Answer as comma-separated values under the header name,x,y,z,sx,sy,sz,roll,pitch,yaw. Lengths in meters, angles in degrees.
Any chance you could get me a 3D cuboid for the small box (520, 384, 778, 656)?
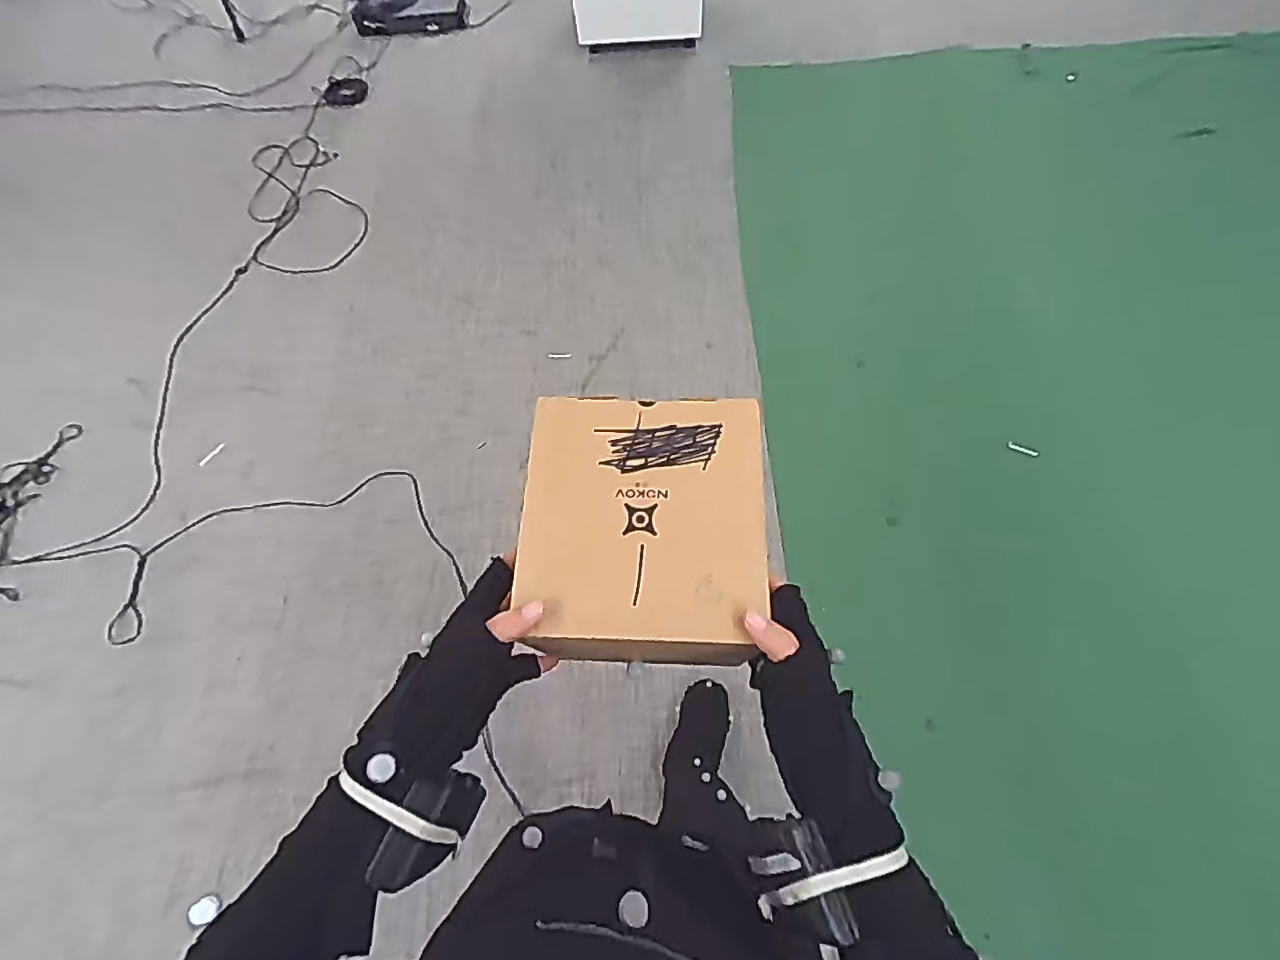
name,x,y,z,sx,sy,sz,roll,pitch,yaw
small box,0.011,0.041,0.443,0.168,0.176,0.179,1,66,4
